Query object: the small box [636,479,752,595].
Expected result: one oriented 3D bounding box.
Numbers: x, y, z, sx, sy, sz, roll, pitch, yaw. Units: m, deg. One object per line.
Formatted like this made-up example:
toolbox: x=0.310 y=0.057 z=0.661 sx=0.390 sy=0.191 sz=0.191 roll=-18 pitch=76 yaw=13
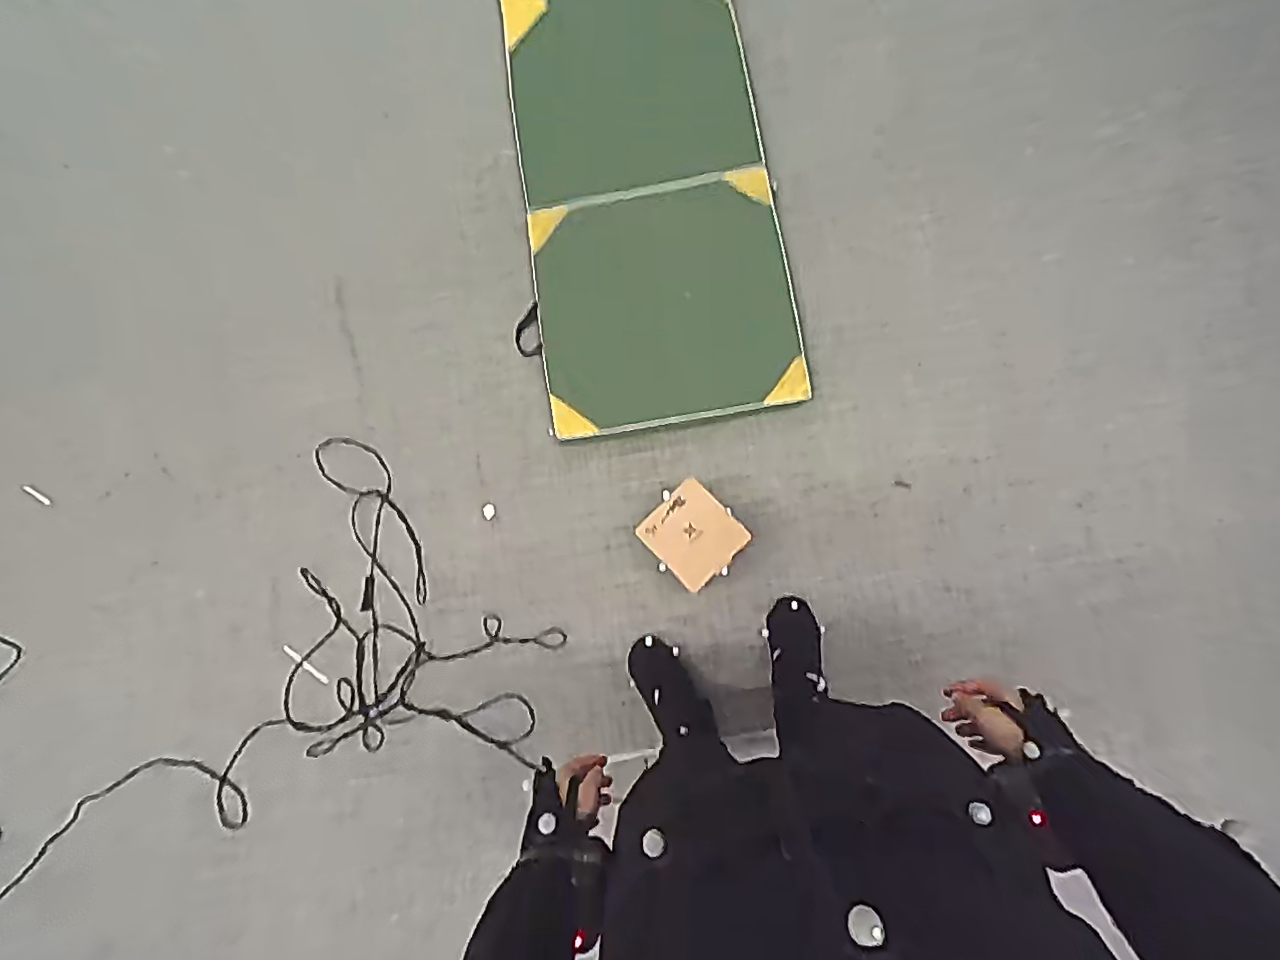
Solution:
small box: x=0.114 y=0.123 z=1.156 sx=0.168 sy=0.176 sz=0.179 roll=-43 pitch=80 yaw=-3
